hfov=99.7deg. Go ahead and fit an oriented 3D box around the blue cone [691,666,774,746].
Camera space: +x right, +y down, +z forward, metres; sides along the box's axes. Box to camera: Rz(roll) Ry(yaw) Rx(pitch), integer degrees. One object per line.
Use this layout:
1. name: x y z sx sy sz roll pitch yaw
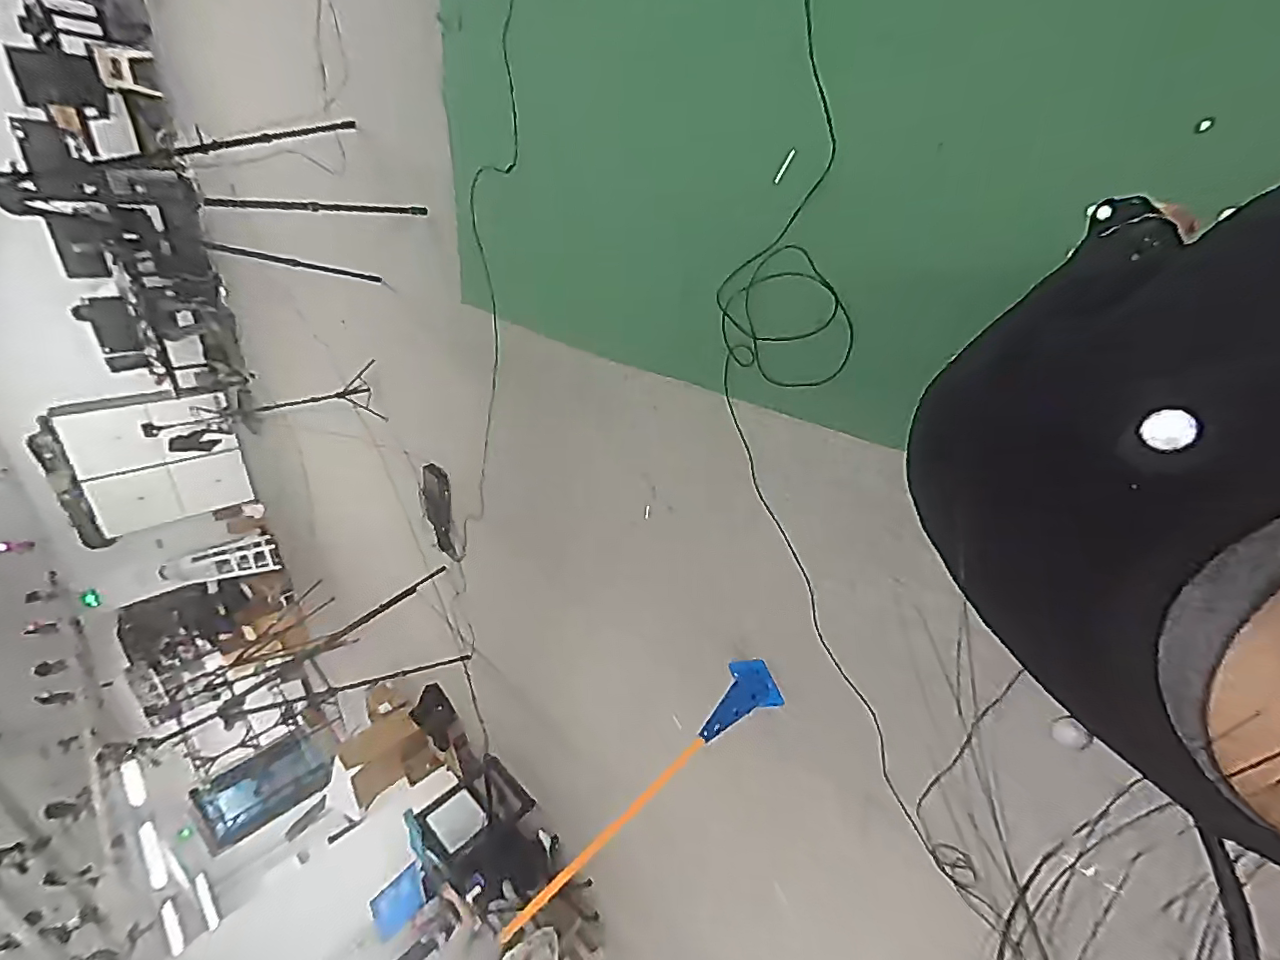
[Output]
1. blue cone: 0.328 0.892 2.067 0.193 0.380 0.192 -33 84 50
